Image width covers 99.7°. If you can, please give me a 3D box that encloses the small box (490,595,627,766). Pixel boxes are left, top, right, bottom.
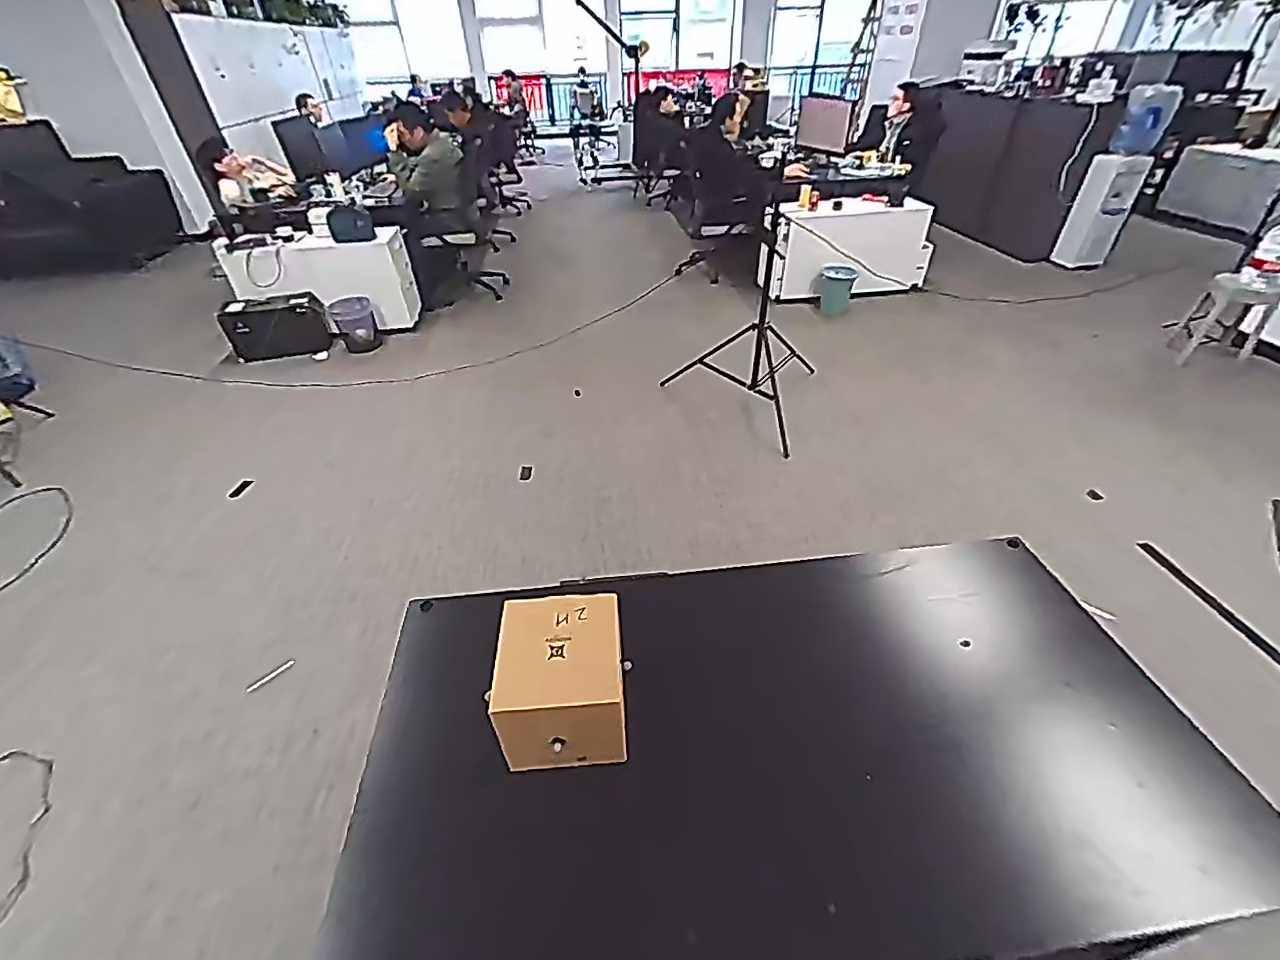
[{"bbox_3d":[-0.108,0.294,0.785,0.168,0.176,0.179,-4,38,-2],"label":"small box"}]
